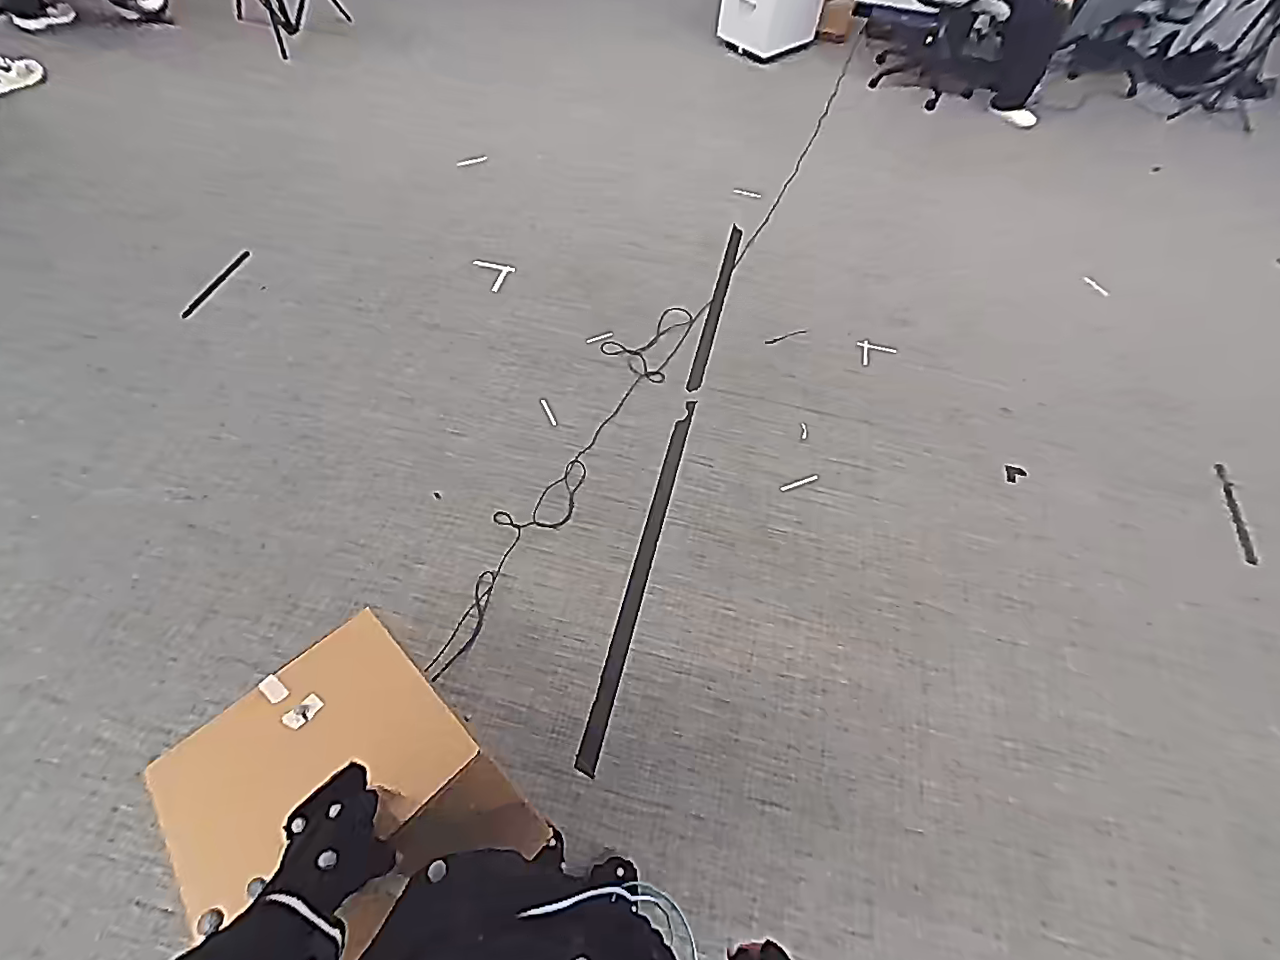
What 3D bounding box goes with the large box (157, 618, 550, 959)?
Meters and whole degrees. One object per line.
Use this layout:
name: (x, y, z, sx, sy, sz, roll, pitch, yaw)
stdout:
large box: (-0.390, 0.488, 0.814, 0.320, 0.408, 0.320, -38, 52, -26)
